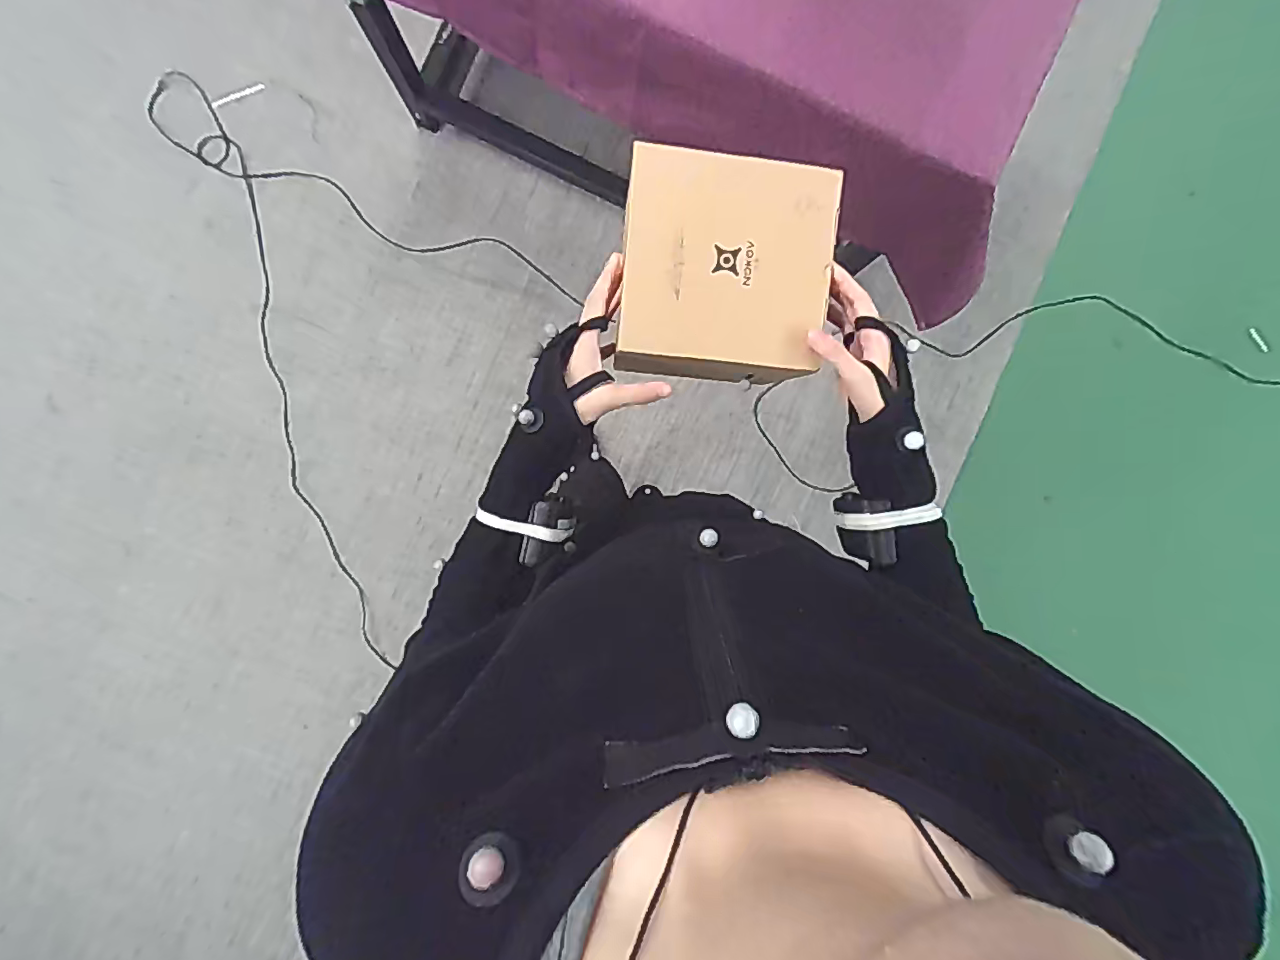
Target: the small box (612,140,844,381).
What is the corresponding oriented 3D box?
[{"bbox_3d":[0.069,-0.191,0.525,0.179,0.176,0.168,5,95,-5],"label":"small box"}]
